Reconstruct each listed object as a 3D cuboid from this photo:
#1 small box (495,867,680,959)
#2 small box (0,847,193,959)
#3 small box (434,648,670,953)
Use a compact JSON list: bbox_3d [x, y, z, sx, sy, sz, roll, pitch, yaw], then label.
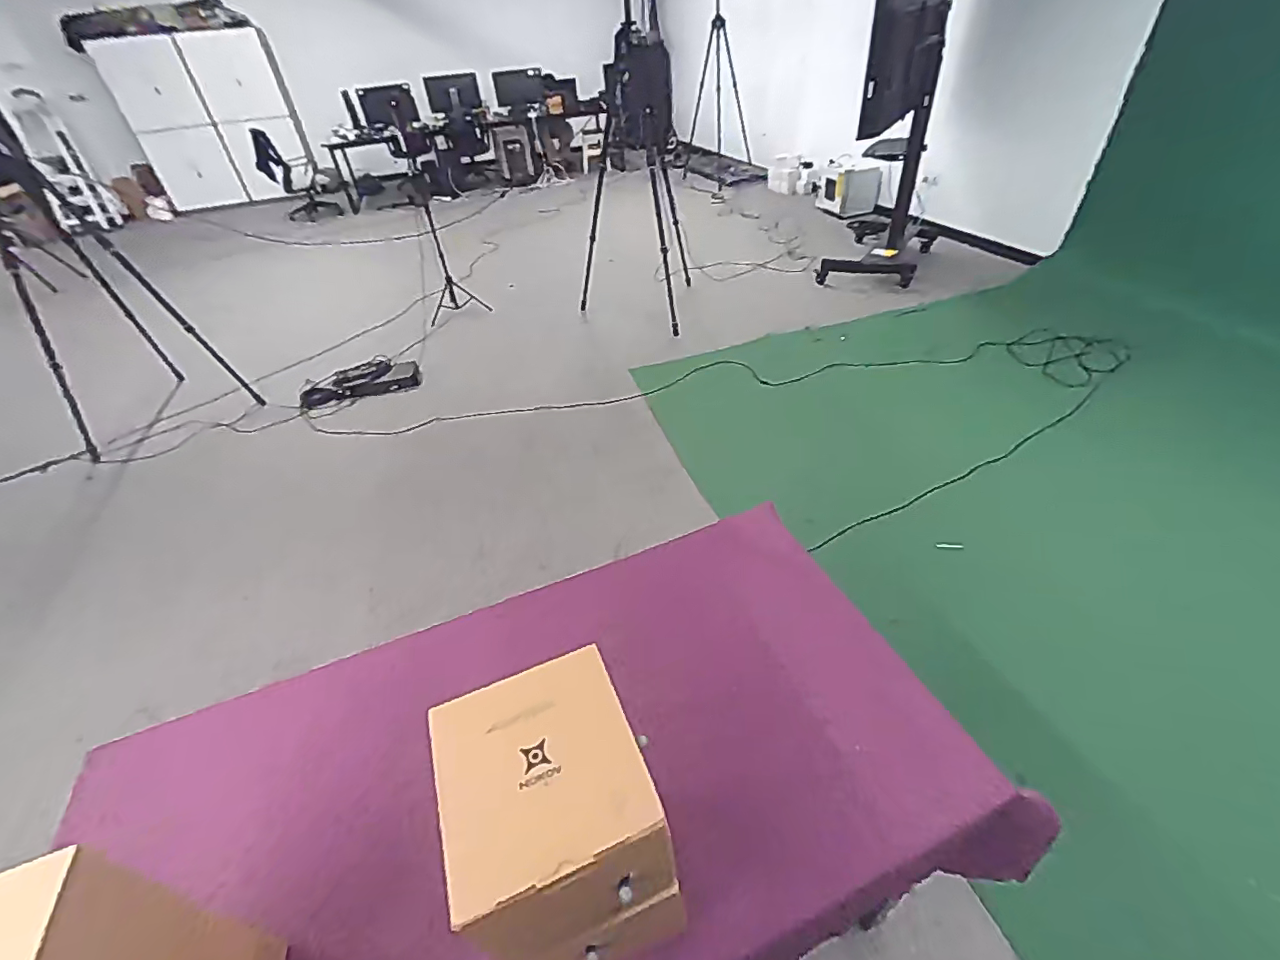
[{"bbox_3d":[-0.064,0.428,0.608,0.179,0.176,0.168,-16,42,-12],"label":"small box"},{"bbox_3d":[-0.486,0.428,0.405,0.168,0.176,0.179,-17,40,-15],"label":"small box"},{"bbox_3d":[-0.078,0.300,0.507,0.168,0.176,0.179,-17,41,-15],"label":"small box"}]
